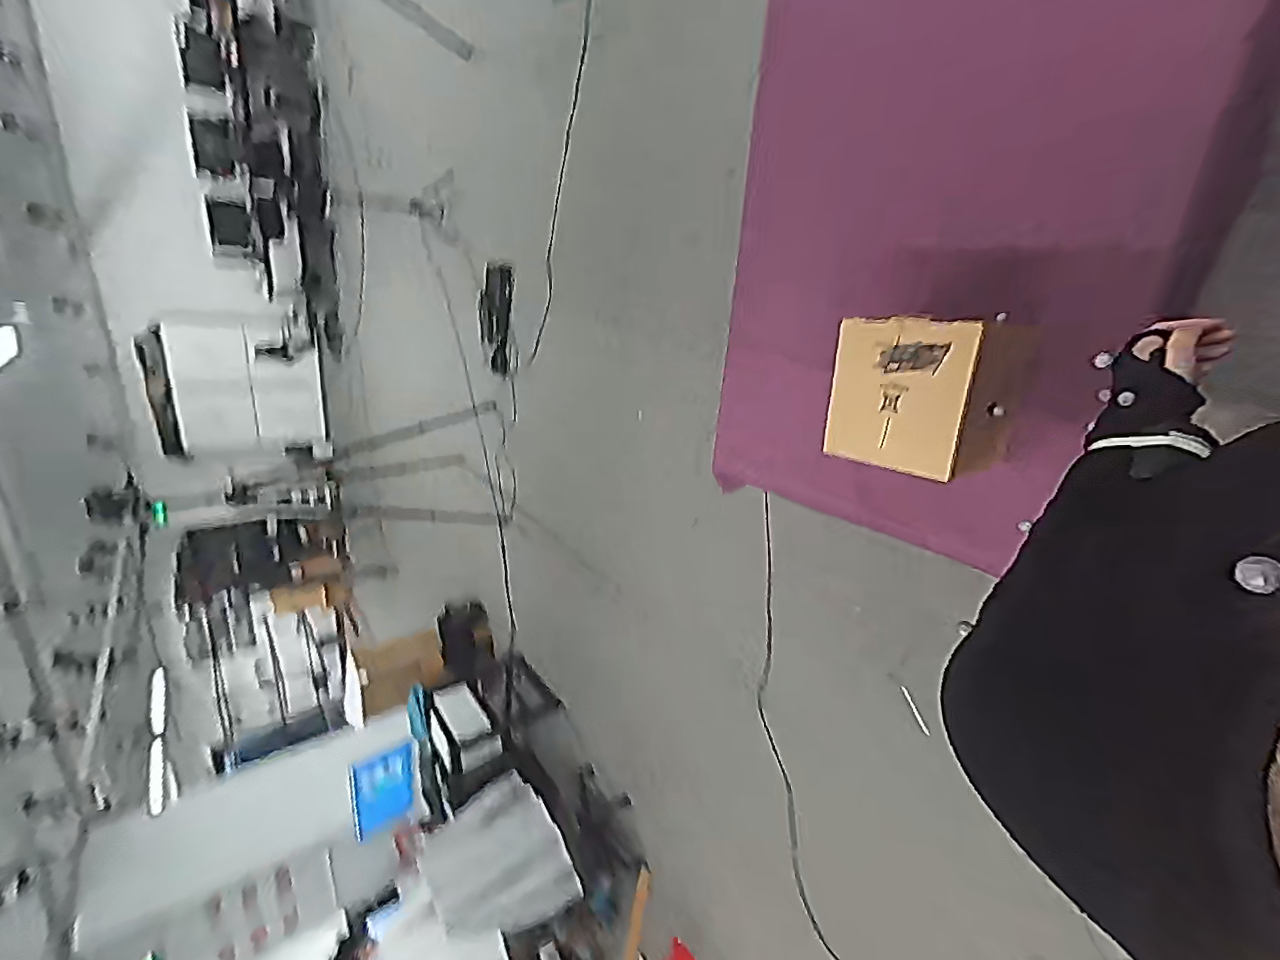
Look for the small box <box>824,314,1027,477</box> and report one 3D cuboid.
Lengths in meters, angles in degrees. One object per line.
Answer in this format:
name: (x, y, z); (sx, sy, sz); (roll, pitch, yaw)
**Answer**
small box: (0.366, -0.119, 0.696); (0.168, 0.176, 0.179); (22, 117, 48)
